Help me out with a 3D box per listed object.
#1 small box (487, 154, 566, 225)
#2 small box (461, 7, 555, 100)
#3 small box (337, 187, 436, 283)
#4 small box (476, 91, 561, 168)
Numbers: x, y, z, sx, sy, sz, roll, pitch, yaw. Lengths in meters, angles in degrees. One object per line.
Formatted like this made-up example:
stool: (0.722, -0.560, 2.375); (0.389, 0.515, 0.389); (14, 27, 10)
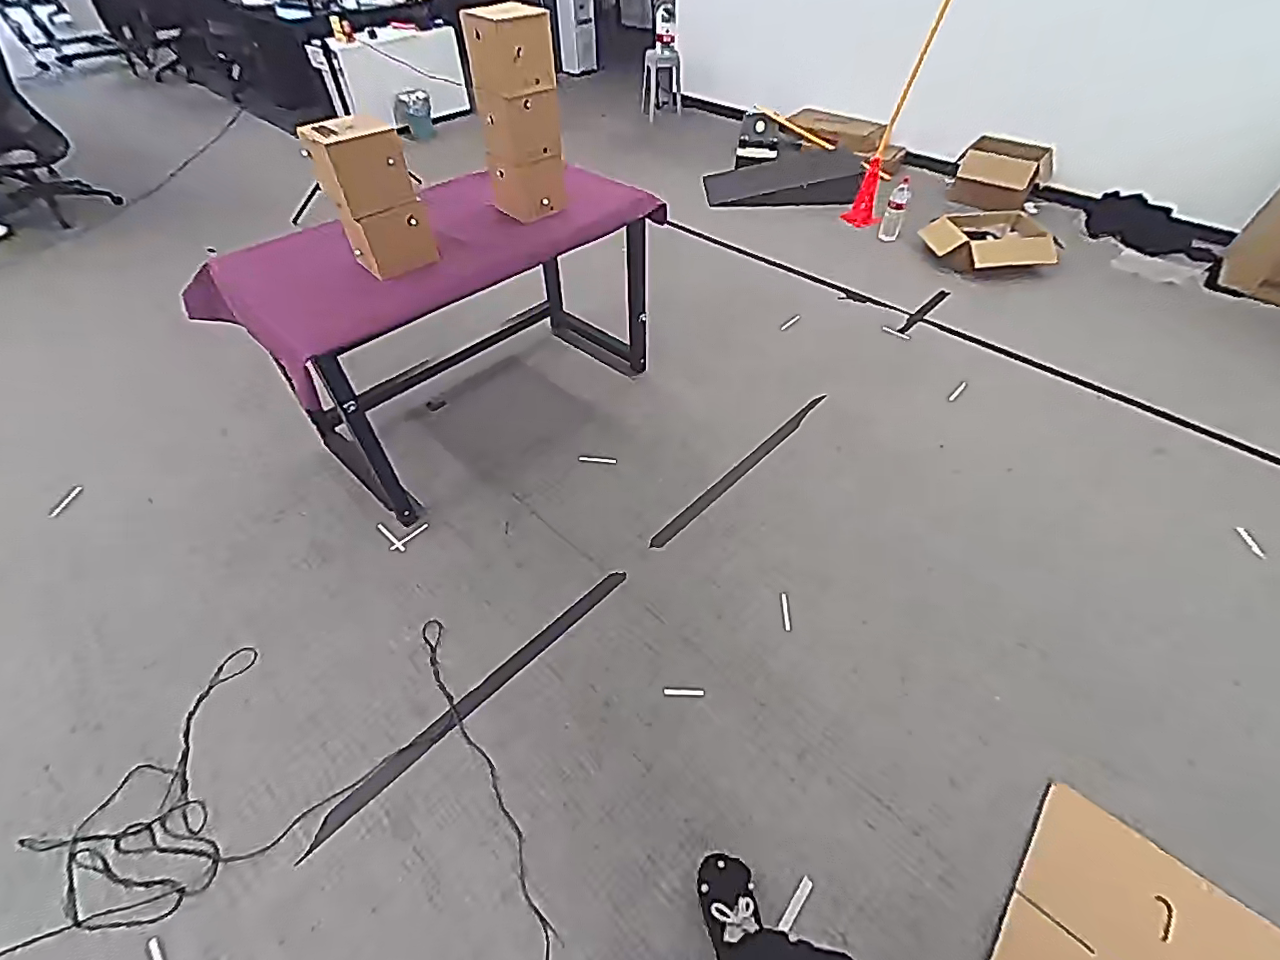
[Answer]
small box: (-0.352, -0.930, 1.704); (0.168, 0.176, 0.179); (-36, 58, -26)
small box: (-0.346, -1.141, 1.453); (0.168, 0.176, 0.179); (-34, 56, -25)
small box: (-0.681, -0.669, 1.477); (0.179, 0.176, 0.168); (-35, 56, -26)
small box: (-0.350, -1.036, 1.579); (0.168, 0.176, 0.179); (-34, 56, -25)
